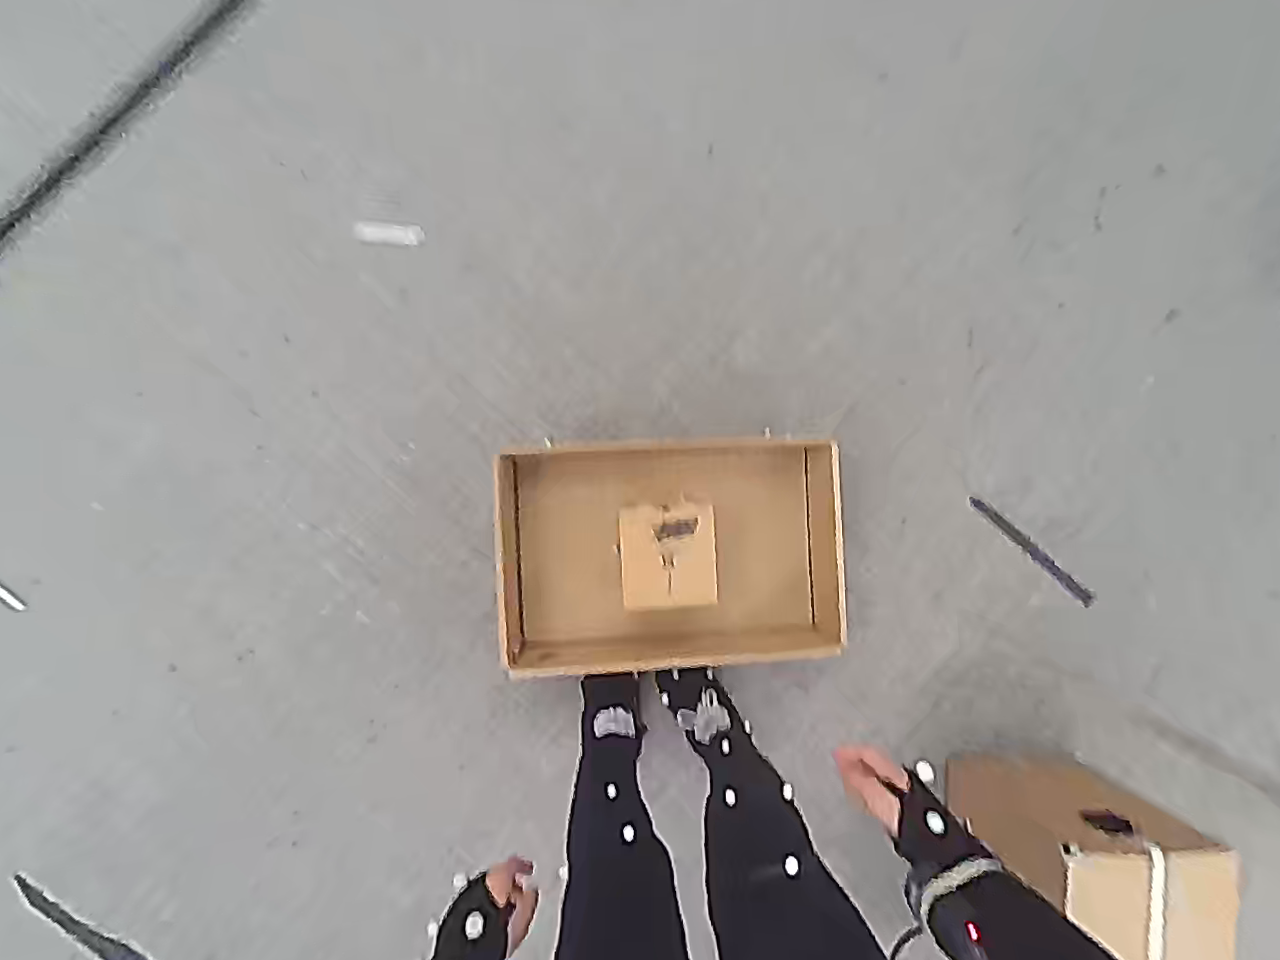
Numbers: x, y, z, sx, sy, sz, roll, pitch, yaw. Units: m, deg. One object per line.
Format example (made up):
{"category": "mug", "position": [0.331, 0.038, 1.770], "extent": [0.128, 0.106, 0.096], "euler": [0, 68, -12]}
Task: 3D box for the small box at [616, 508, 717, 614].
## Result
{"category": "small box", "position": [0.043, 0.143, 1.015], "extent": [0.168, 0.176, 0.179], "euler": [-3, 90, -4]}
